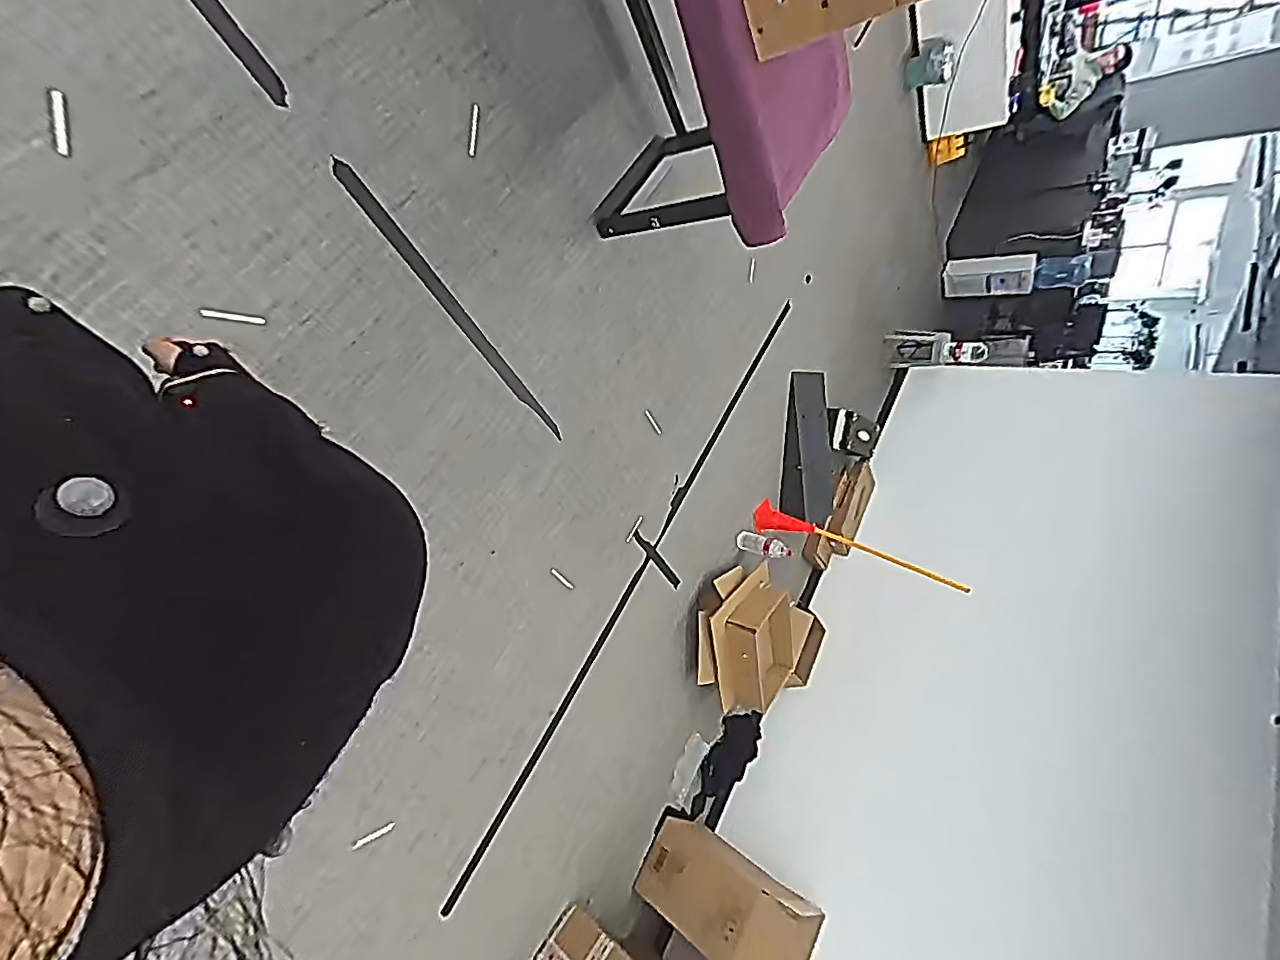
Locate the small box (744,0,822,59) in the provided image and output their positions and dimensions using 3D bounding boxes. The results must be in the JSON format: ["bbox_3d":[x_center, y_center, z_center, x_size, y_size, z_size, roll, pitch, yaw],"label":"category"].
[{"bbox_3d":[0.358,-1.154,1.287,0.179,0.176,0.168,-59,137,-23],"label":"small box"}]

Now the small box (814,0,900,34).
[{"bbox_3d":[0.486,-1.131,1.186,0.179,0.176,0.168,-58,137,-23],"label":"small box"}]
